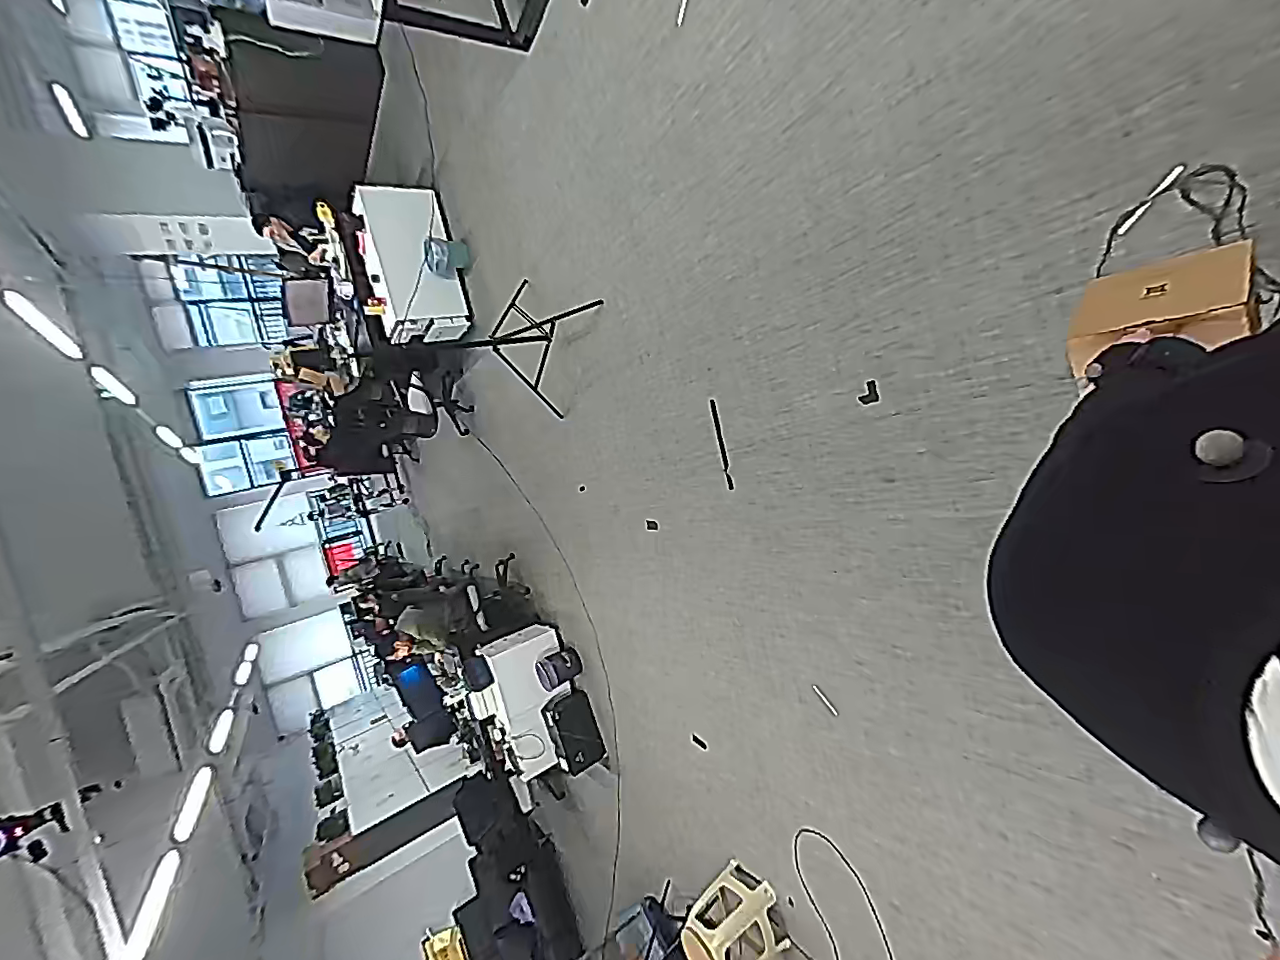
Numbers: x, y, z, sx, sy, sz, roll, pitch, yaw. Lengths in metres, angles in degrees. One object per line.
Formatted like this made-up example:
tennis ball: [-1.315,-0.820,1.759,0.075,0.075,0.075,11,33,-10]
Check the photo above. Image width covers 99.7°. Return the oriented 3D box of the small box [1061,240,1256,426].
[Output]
small box: [0.711,-0.186,0.739,0.168,0.179,0.176,-3,128,51]
